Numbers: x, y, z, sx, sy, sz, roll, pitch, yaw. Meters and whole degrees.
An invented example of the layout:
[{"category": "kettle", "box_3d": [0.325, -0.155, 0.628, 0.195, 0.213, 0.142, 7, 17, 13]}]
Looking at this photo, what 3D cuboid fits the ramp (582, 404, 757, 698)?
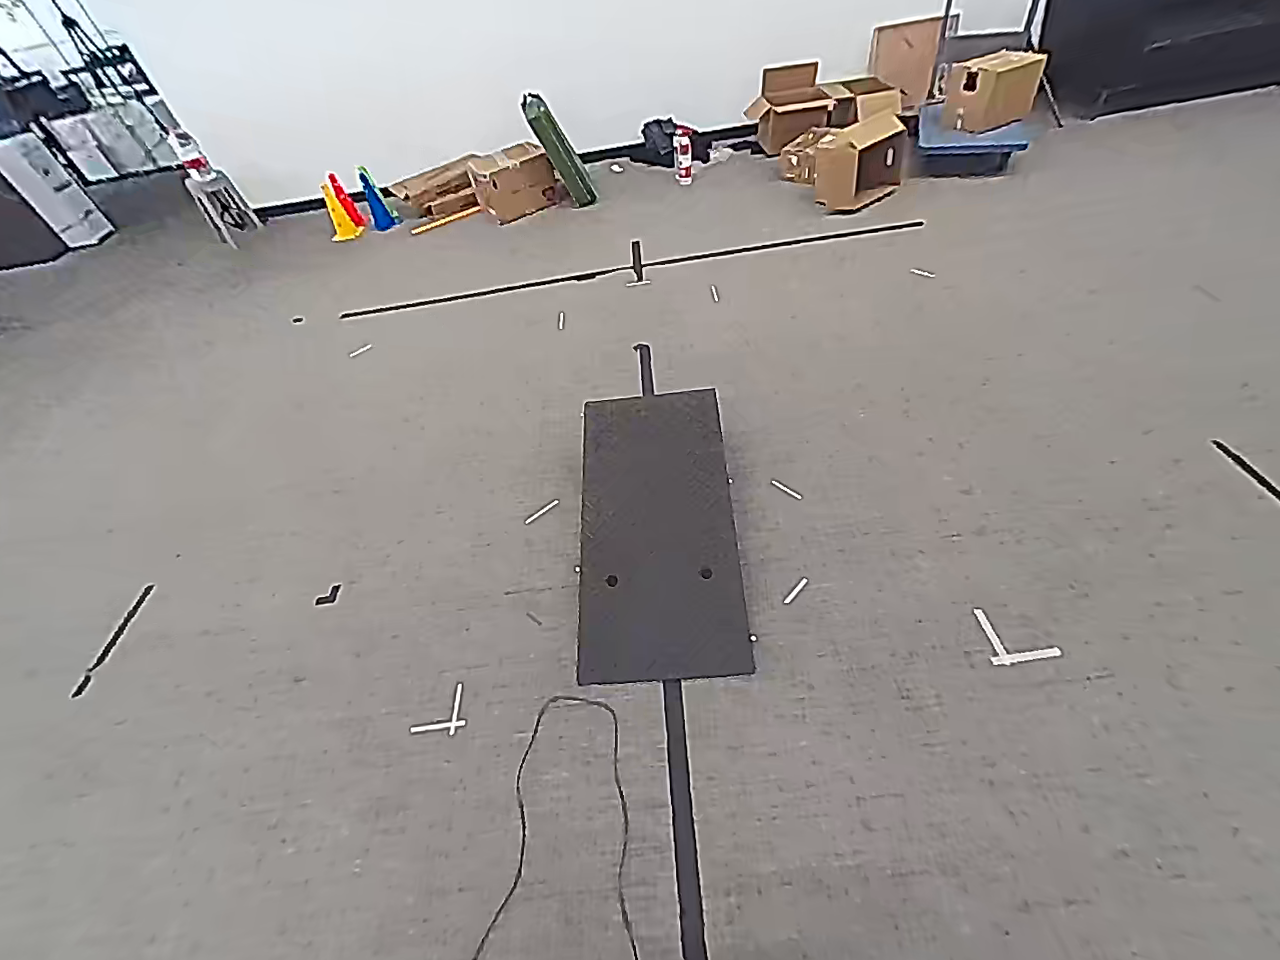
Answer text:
[{"category": "ramp", "box_3d": [0.054, 0.163, 1.752, 0.509, 0.206, 0.991, -8, 46, 3]}]
